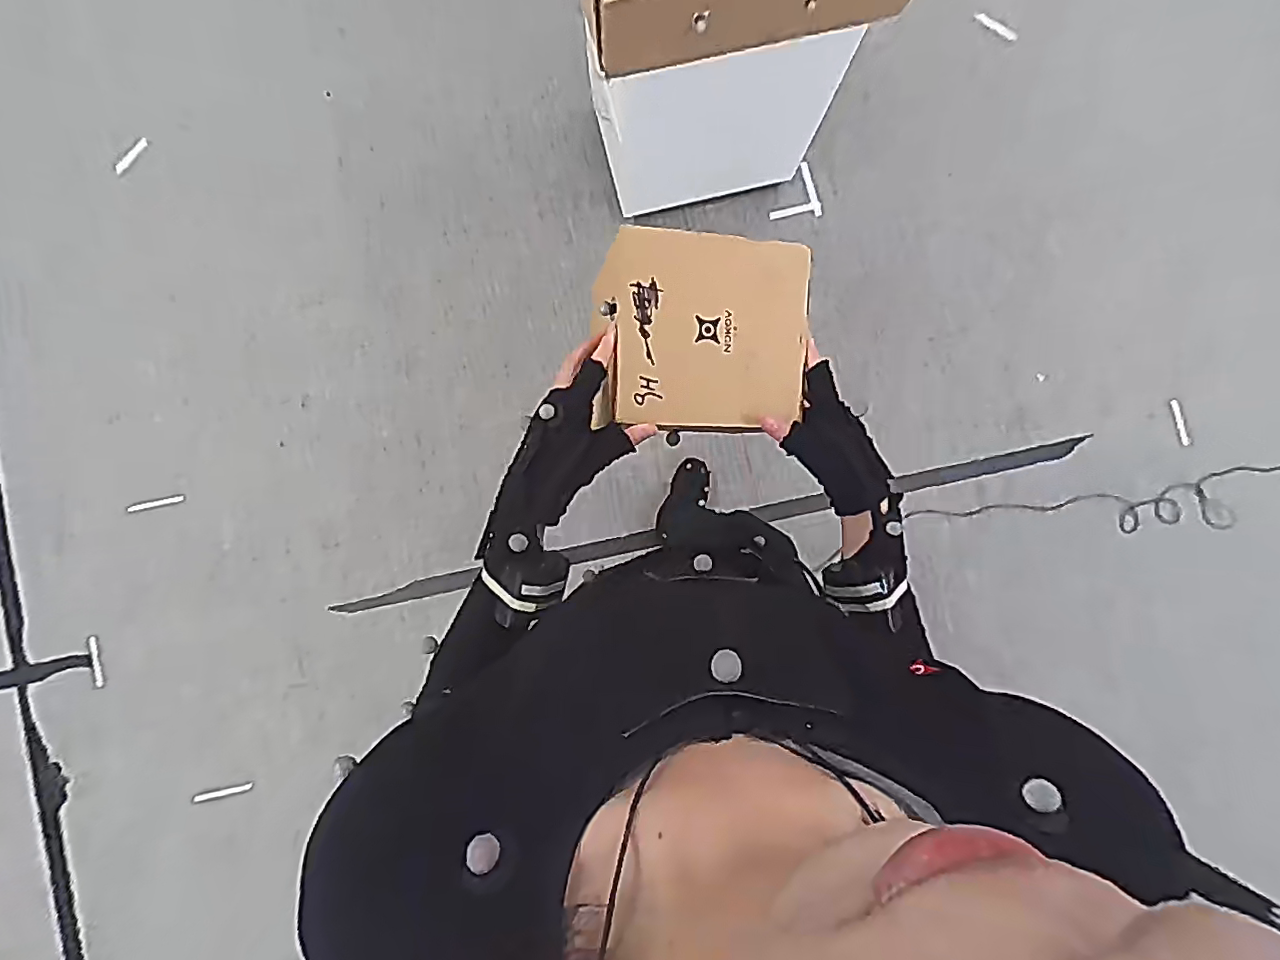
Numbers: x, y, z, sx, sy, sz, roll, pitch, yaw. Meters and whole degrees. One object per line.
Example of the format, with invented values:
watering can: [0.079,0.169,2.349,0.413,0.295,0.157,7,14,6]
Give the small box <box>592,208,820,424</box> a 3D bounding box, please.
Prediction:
small box: [0.053,-0.144,0.540,0.179,0.176,0.168,1,93,-14]
